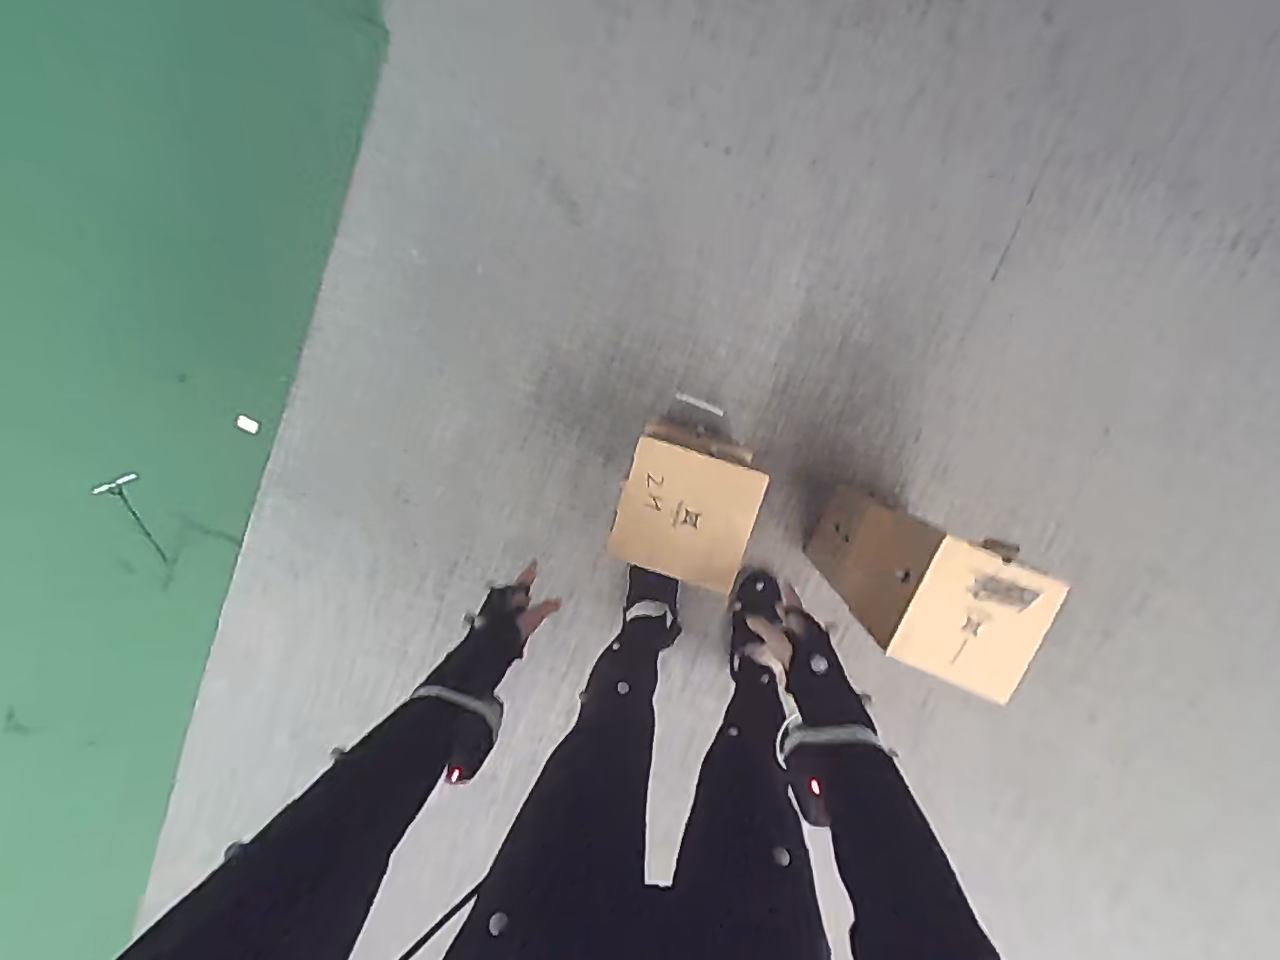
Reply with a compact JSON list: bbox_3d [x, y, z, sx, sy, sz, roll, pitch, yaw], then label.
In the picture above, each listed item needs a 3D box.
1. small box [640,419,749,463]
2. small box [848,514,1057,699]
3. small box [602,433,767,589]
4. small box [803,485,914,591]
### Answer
[{"bbox_3d":[0.075,-0.001,0.943,0.179,0.176,0.168,17,97,3],"label":"small box"},{"bbox_3d":[0.422,0.164,0.767,0.168,0.176,0.179,23,98,2],"label":"small box"},{"bbox_3d":[0.062,0.033,0.780,0.179,0.176,0.168,19,96,3],"label":"small box"},{"bbox_3d":[0.447,0.126,1.093,0.168,0.176,0.179,23,98,0],"label":"small box"}]
